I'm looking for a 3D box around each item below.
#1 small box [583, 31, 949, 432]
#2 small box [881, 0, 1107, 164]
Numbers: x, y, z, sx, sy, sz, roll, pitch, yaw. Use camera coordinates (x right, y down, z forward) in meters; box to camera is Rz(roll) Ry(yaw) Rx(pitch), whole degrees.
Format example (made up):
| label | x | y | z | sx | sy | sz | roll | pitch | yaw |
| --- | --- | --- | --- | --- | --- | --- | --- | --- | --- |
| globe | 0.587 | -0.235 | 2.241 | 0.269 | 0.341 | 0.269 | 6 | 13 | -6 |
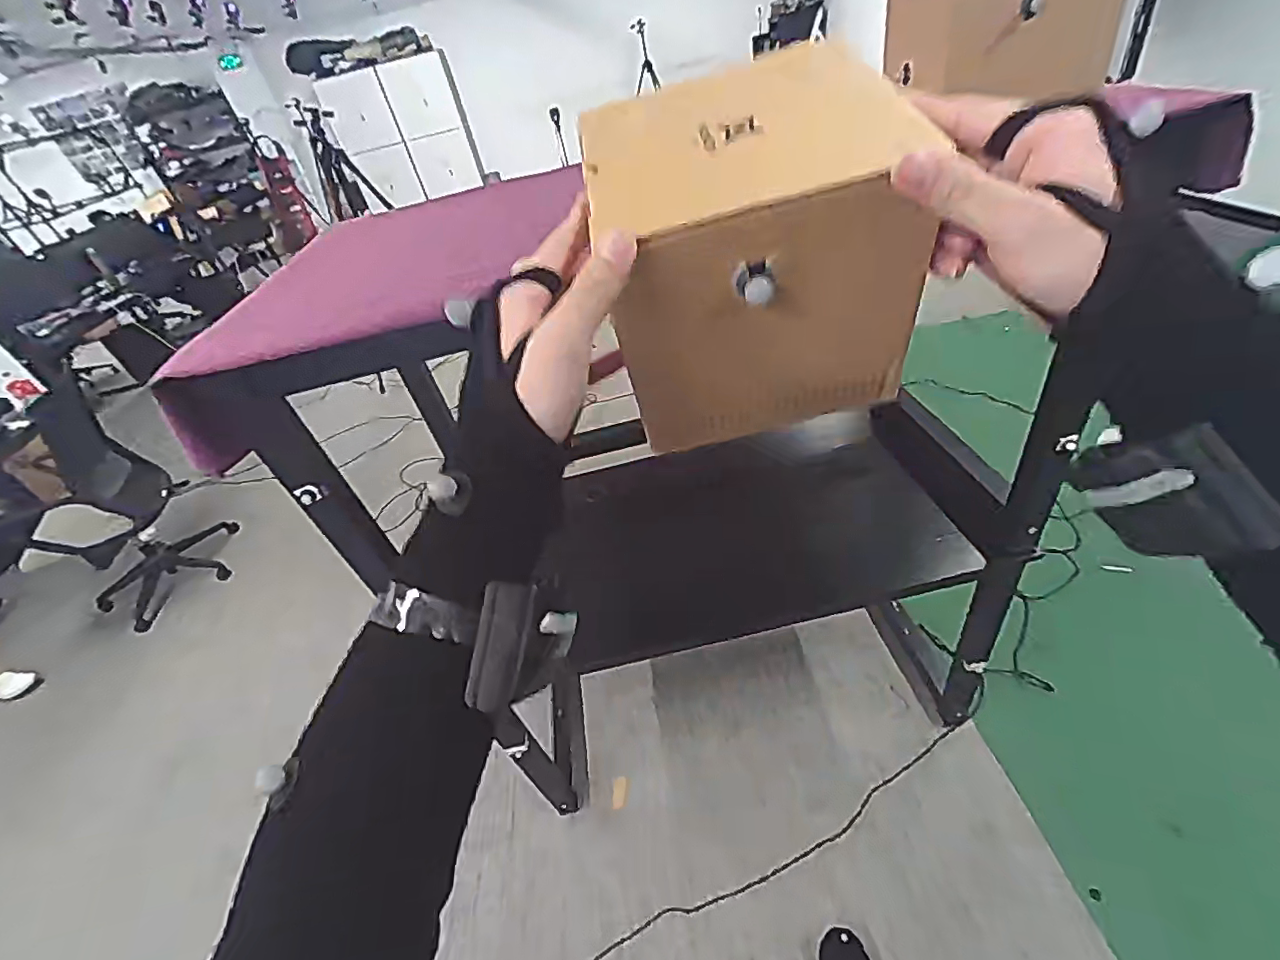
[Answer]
| label | x | y | z | sx | sy | sz | roll | pitch | yaw |
| --- | --- | --- | --- | --- | --- | --- | --- | --- | --- |
| small box | 0.071 | -0.158 | 0.374 | 0.179 | 0.176 | 0.168 | -14 | 54 | 6 |
| small box | 0.396 | -0.485 | 0.628 | 0.179 | 0.176 | 0.168 | -11 | 40 | 5 |
